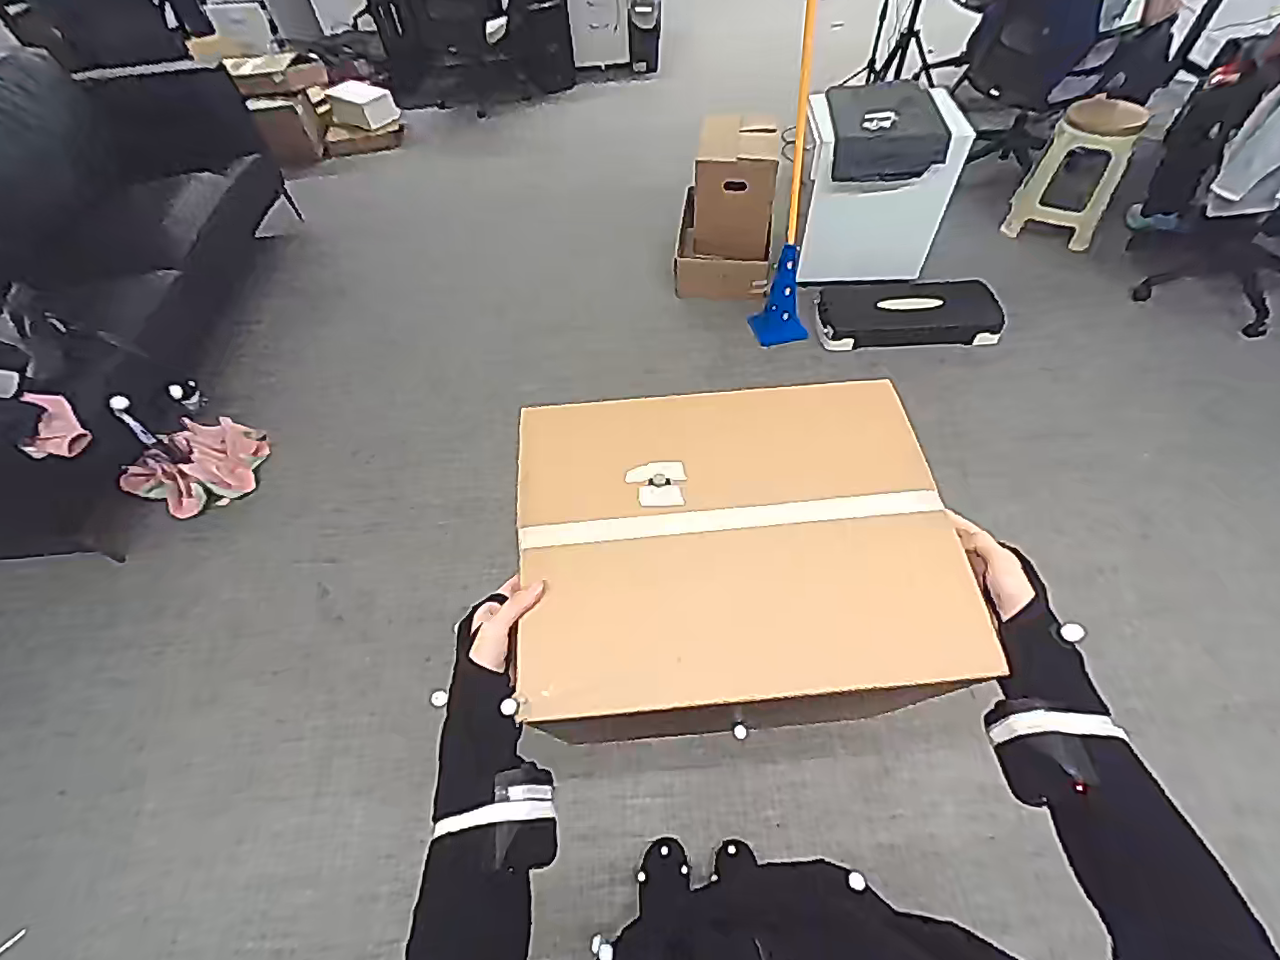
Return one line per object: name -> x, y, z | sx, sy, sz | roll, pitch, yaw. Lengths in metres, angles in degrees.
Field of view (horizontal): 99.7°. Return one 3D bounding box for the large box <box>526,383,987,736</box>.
large box -> 0.094, 0.116, 0.659 | 0.408, 0.320, 0.320 | -6, 60, -1
